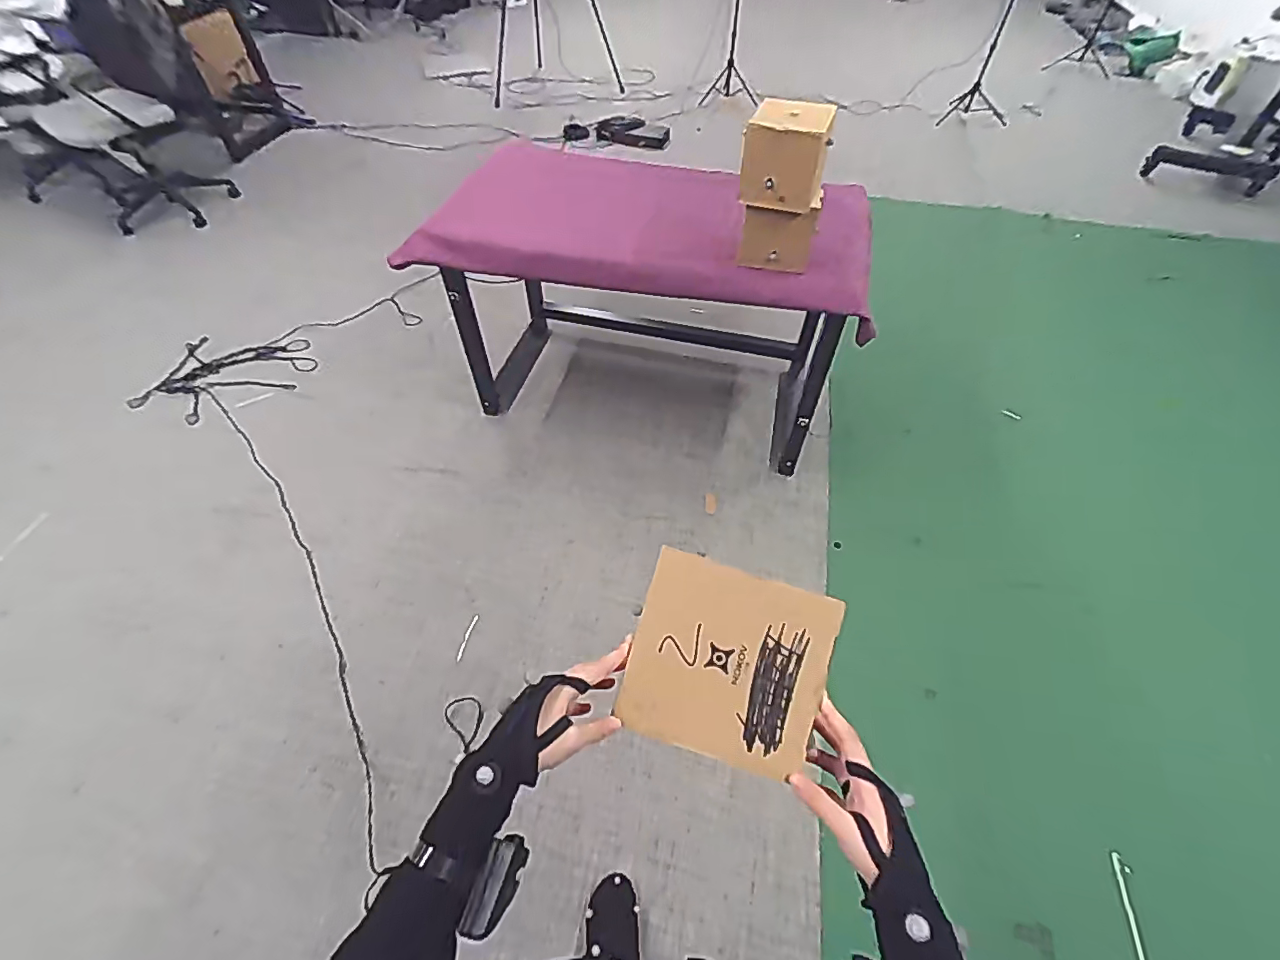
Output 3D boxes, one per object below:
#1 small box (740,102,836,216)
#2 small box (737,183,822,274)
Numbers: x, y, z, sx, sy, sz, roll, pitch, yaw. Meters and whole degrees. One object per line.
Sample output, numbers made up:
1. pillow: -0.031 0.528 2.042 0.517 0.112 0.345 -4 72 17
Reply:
1. small box: 0.335 -0.740 1.248 0.168 0.176 0.179 16 53 14
2. small box: 0.355 -0.649 1.384 0.179 0.176 0.168 10 51 9
